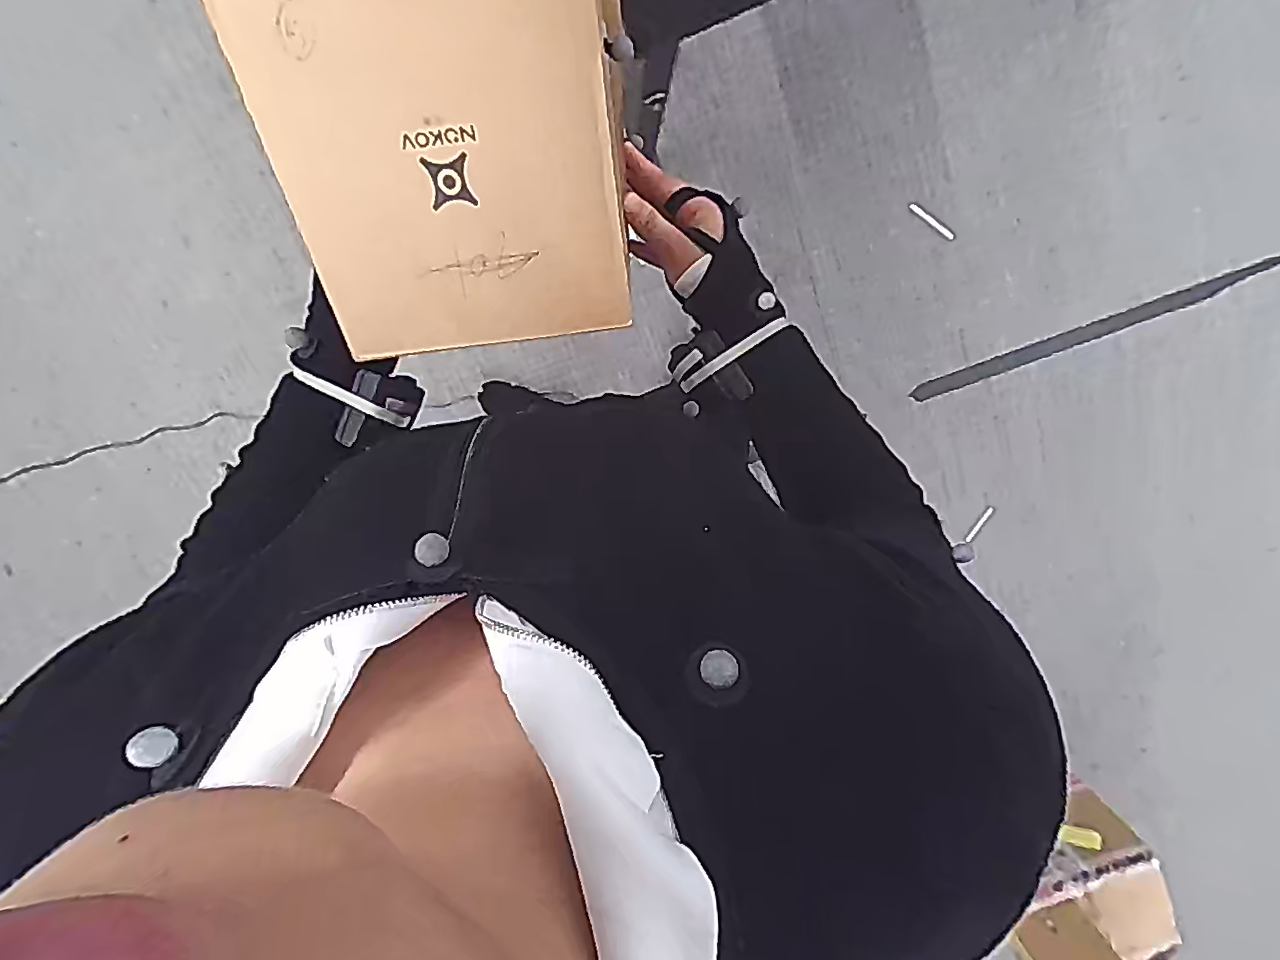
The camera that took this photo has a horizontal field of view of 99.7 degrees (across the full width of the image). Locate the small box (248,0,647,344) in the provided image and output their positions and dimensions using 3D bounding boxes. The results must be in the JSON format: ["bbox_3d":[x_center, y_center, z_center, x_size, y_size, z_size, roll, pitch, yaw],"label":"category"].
[{"bbox_3d":[-0.086,-0.203,0.338,0.168,0.176,0.179,-5,124,2],"label":"small box"}]

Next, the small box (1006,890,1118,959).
[{"bbox_3d":[1.045,1.171,1.331,0.179,0.176,0.168,-28,102,7],"label":"small box"}]
